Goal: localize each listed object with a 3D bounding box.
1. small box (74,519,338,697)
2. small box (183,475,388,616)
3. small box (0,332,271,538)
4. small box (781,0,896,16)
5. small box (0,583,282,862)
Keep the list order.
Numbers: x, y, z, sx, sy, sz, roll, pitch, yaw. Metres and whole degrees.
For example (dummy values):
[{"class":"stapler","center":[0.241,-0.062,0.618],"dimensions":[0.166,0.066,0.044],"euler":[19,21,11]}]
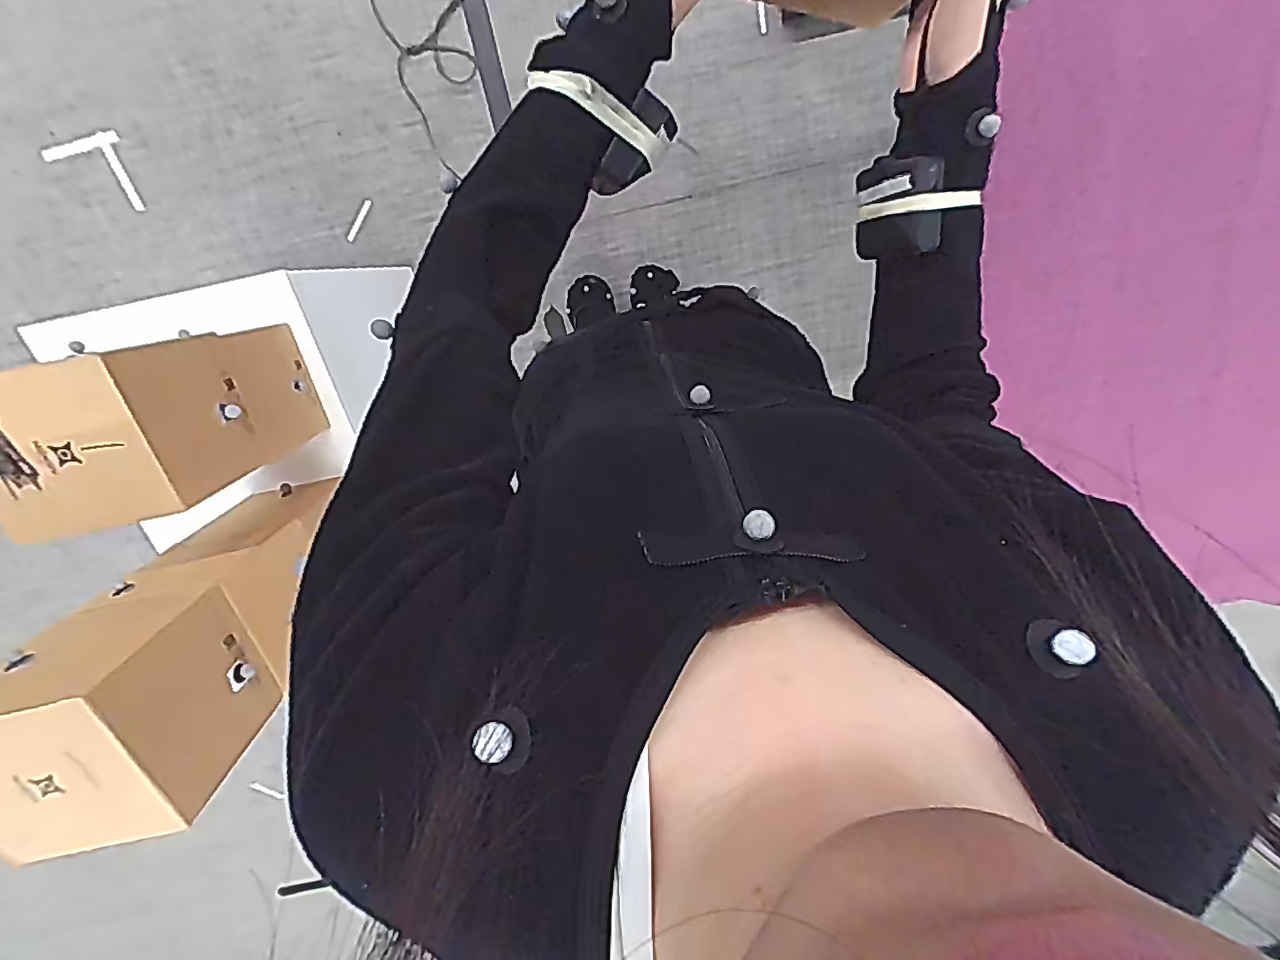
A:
[{"class":"small box","center":[-0.519,0.167,0.687],"dimensions":[0.179,0.176,0.168],"euler":[-13,112,2]},{"class":"small box","center":[-0.530,0.107,0.838],"dimensions":[0.179,0.176,0.168],"euler":[-11,112,2]},{"class":"small box","center":[-0.561,-0.058,0.590],"dimensions":[0.179,0.176,0.168],"euler":[-10,113,-1]},{"class":"small box","center":[0.134,-0.431,0.336],"dimensions":[0.179,0.176,0.168],"euler":[9,113,-6]},{"class":"small box","center":[-0.511,0.227,0.536],"dimensions":[0.179,0.176,0.168],"euler":[-13,113,1]}]
